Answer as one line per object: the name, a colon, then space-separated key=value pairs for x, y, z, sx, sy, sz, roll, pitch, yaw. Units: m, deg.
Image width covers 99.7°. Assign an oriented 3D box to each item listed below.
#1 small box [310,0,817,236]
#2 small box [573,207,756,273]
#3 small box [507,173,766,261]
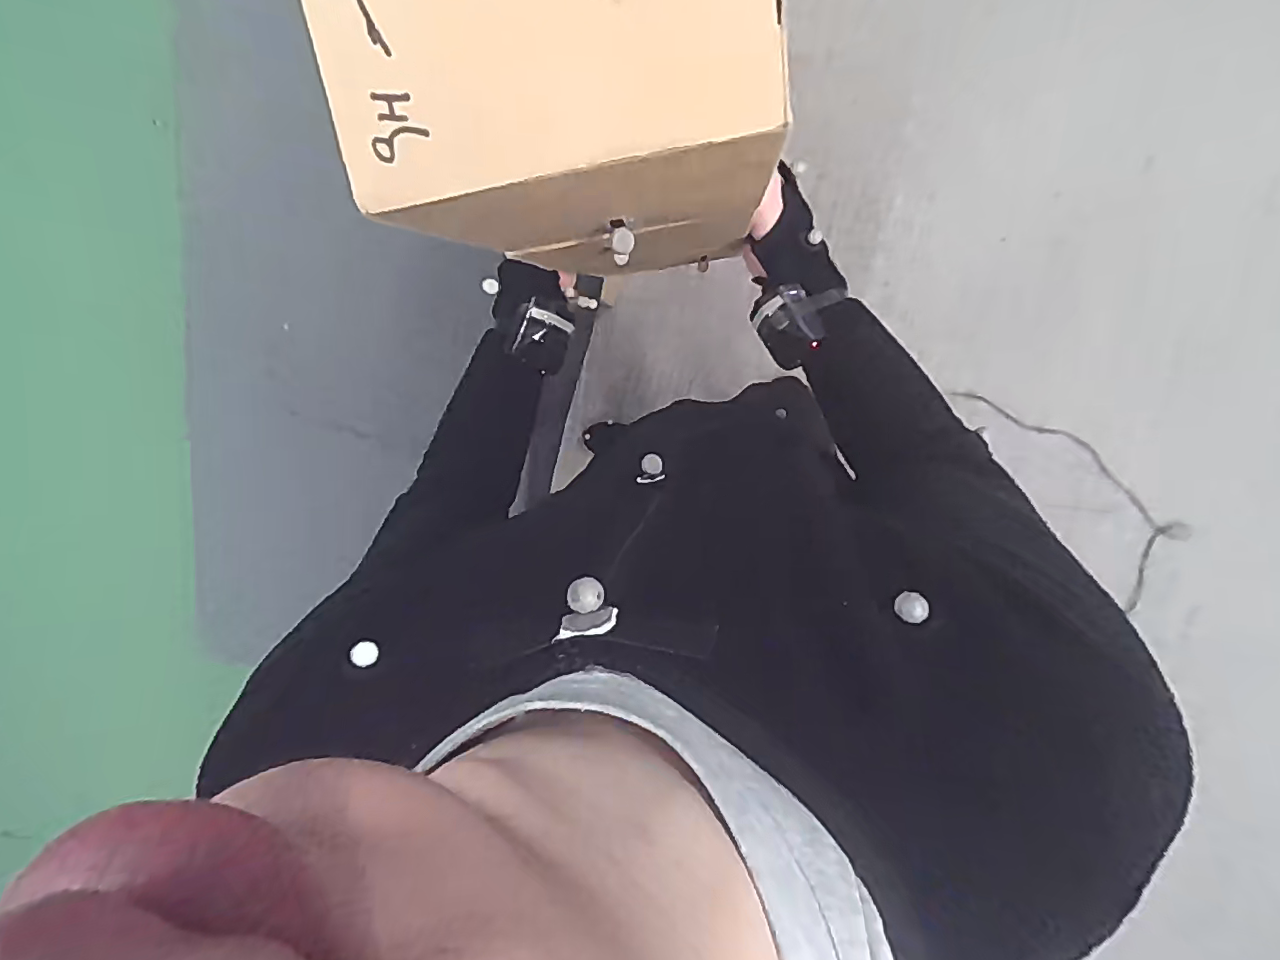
small box: x=-0.026 y=-0.220 z=0.250 sx=0.179 sy=0.176 sz=0.168 roll=-5 pitch=107 yaw=9
small box: x=0.022 y=-0.316 z=0.559 sx=0.179 sy=0.176 sz=0.168 roll=-5 pitch=106 yaw=12
small box: x=-0.004 y=-0.268 z=0.405 sx=0.179 sy=0.176 sz=0.168 roll=-6 pitch=107 yaw=9
